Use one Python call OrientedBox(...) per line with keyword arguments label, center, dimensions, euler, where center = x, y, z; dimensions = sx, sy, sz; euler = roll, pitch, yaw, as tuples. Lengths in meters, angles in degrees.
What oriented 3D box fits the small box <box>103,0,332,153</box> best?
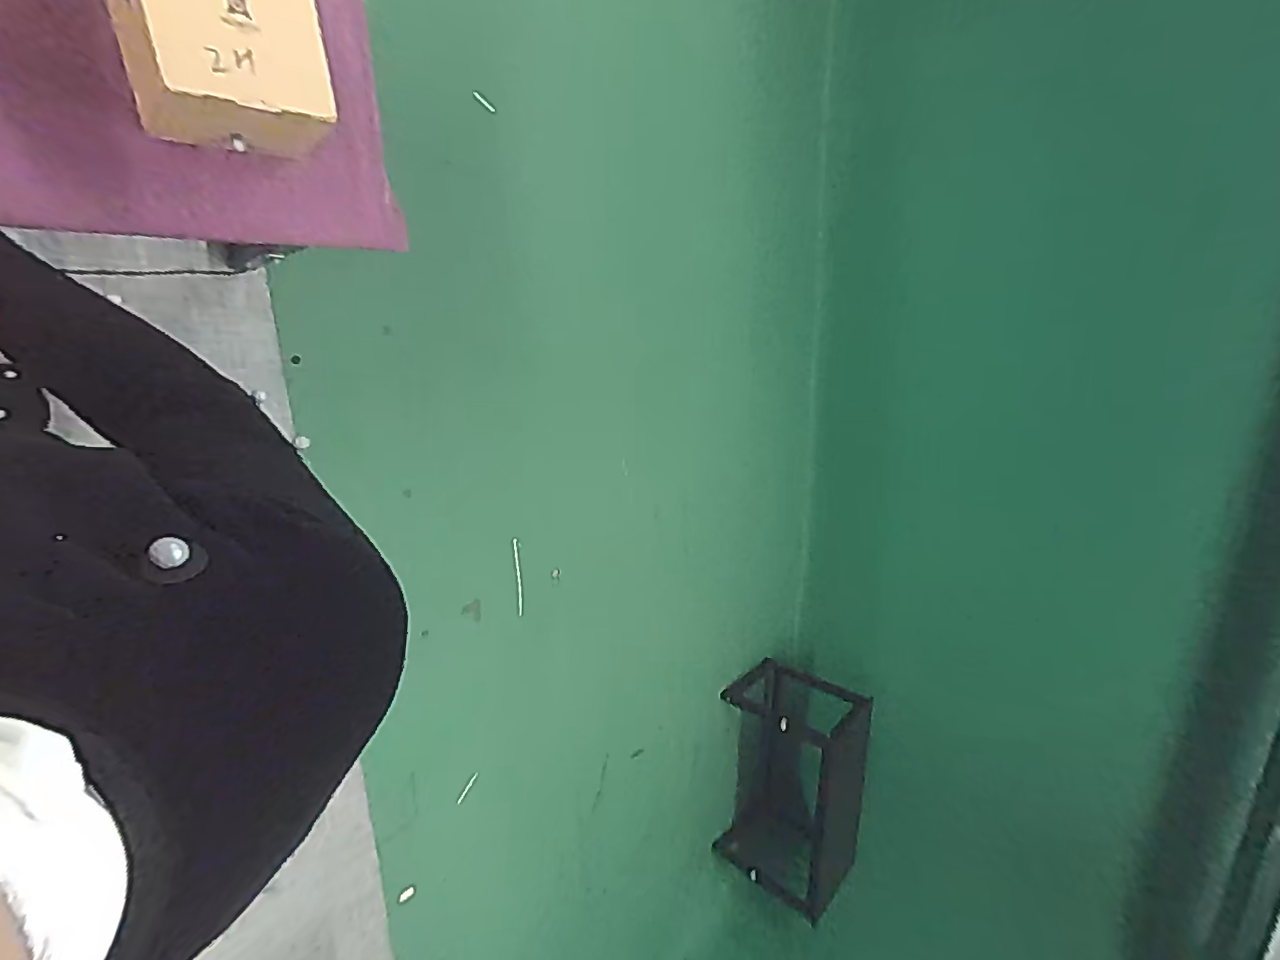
OrientedBox(label="small box", center=(-0.489, -0.507, 0.622), dimensions=(0.168, 0.176, 0.179), euler=(-20, 112, -43))
